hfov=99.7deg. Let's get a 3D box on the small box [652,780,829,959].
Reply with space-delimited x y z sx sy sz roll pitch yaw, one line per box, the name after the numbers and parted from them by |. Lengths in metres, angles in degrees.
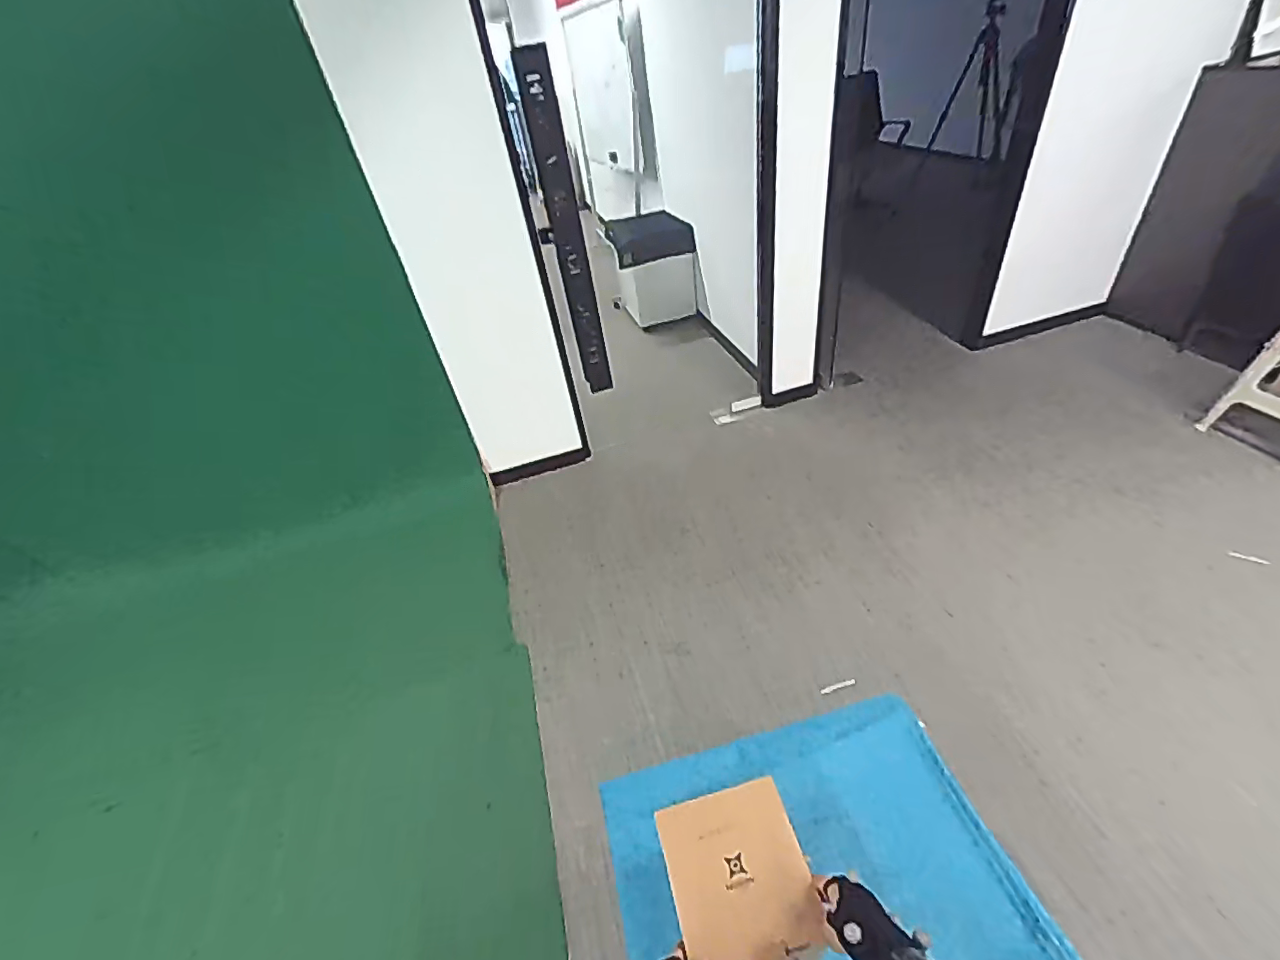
0.121 0.525 0.691 0.168 0.176 0.179 -13 40 -6 | small box
